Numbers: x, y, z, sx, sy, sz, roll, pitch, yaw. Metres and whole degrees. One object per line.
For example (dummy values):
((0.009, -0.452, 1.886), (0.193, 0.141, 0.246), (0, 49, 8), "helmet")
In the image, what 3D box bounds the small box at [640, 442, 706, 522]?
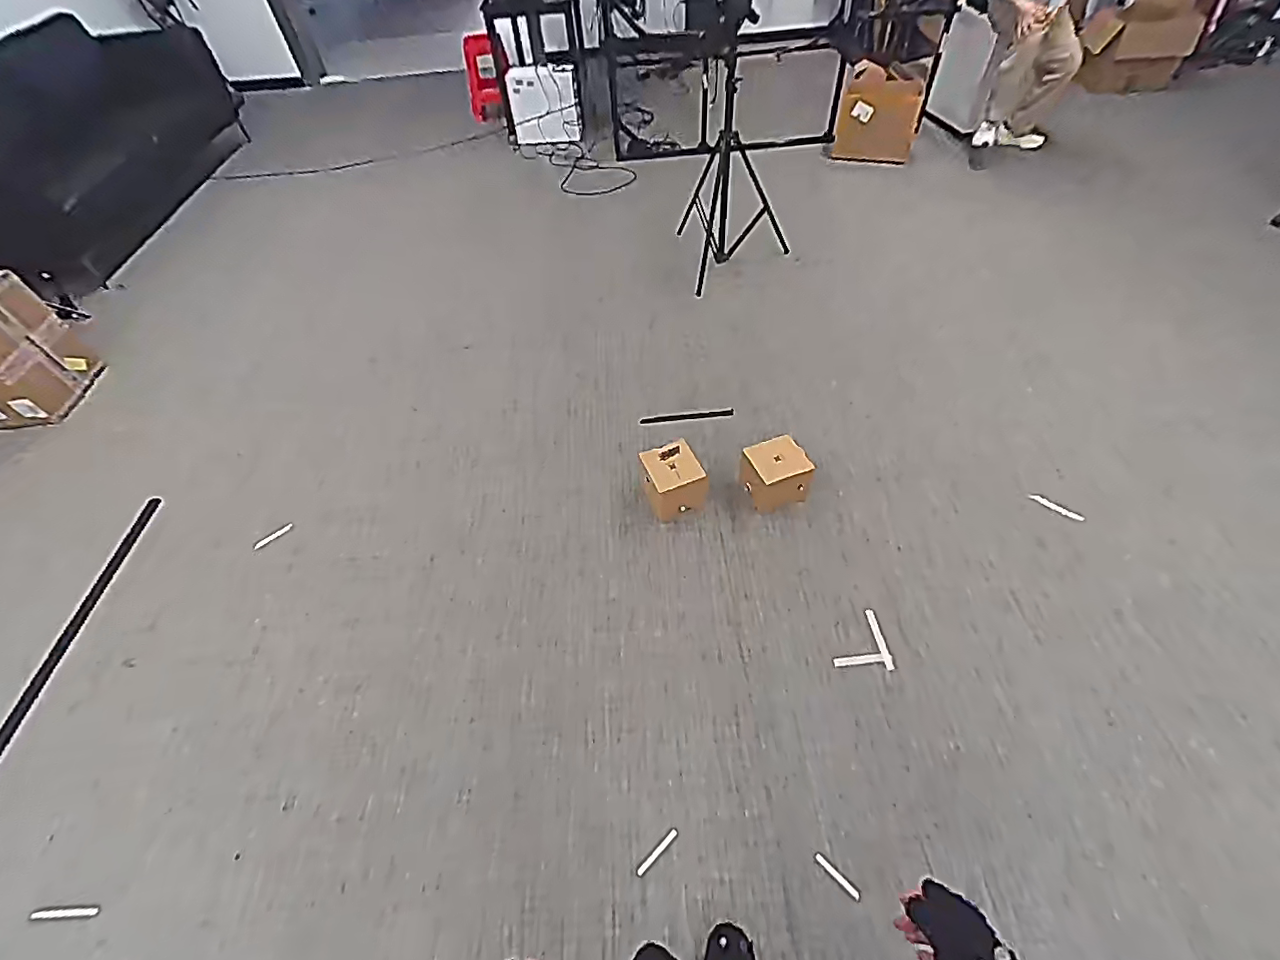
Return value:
((0.107, 0.008, 1.803), (0.168, 0.176, 0.179), (-20, 53, -11), "small box")

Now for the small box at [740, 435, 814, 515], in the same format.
((0.447, -0.014, 1.794), (0.179, 0.176, 0.168), (-20, 52, -10), "small box")
